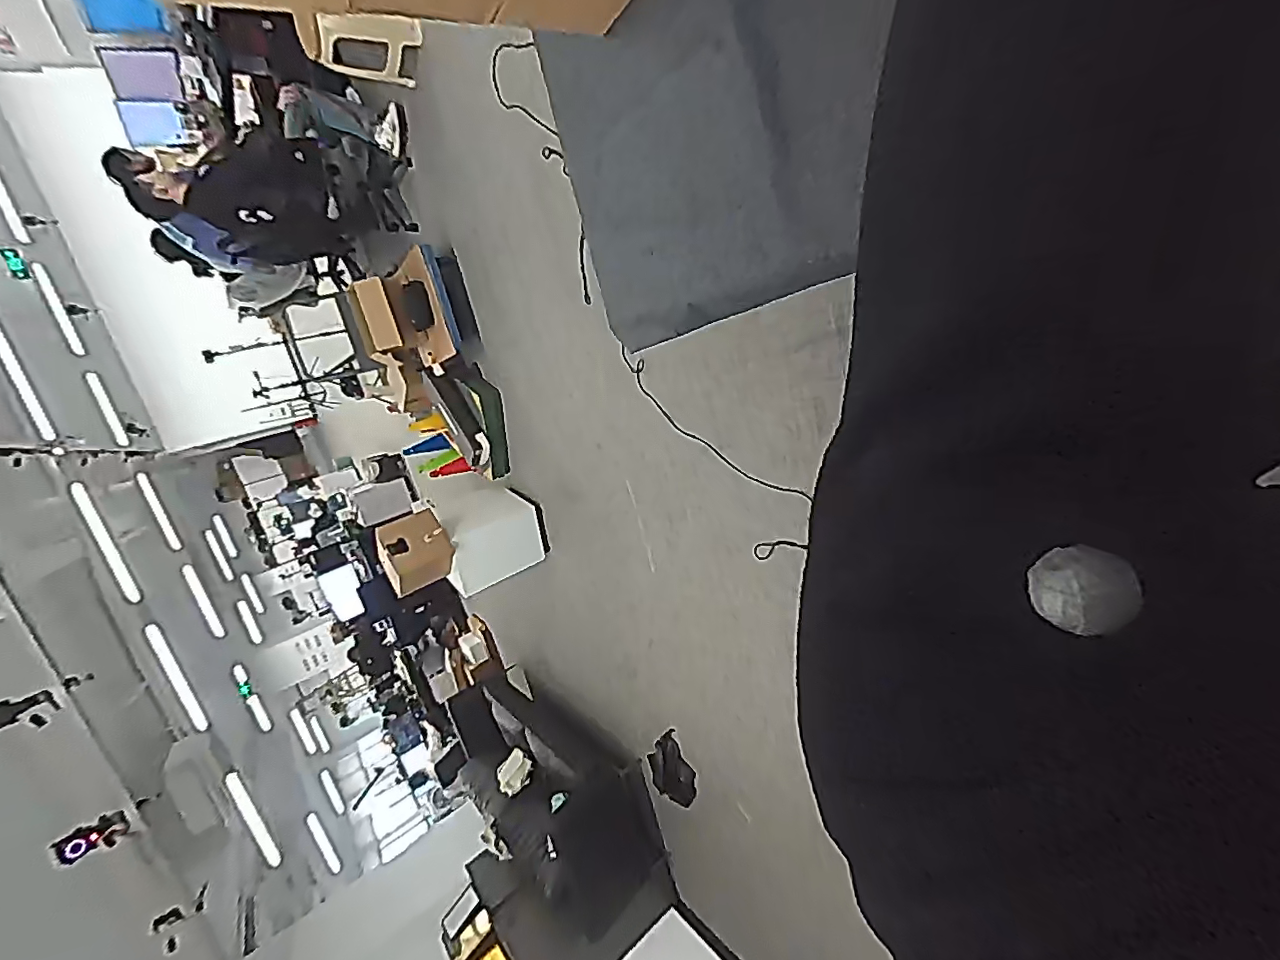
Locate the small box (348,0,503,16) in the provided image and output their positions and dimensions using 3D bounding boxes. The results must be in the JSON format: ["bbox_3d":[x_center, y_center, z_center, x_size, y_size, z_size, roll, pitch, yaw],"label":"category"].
[{"bbox_3d":[-0.208,-0.584,0.509,0.179,0.176,0.168,-2,111,54],"label":"small box"}]

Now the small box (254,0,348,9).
[{"bbox_3d":[-0.328,-0.515,0.420,0.179,0.176,0.168,1,114,54],"label":"small box"}]
